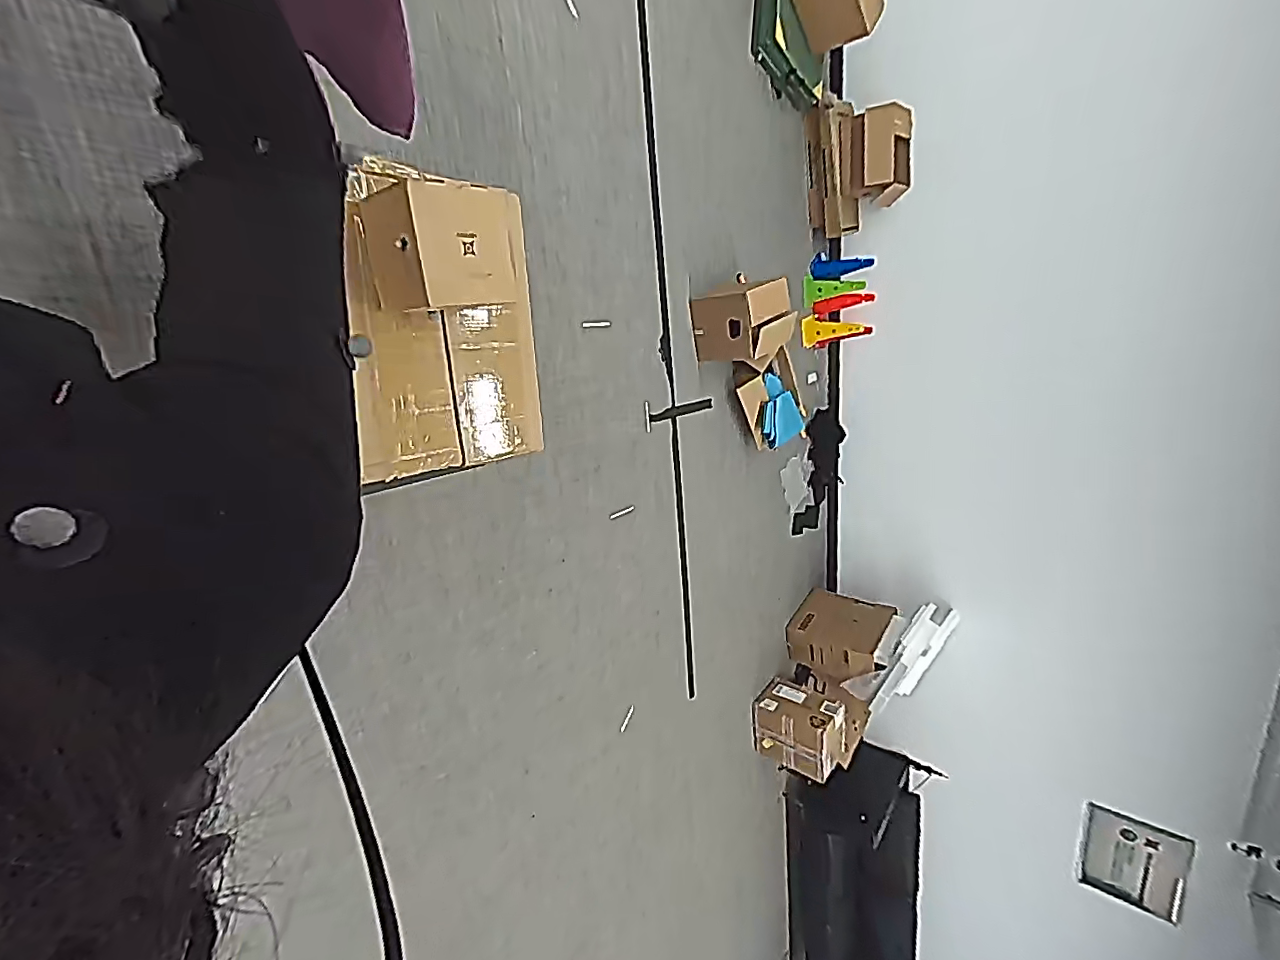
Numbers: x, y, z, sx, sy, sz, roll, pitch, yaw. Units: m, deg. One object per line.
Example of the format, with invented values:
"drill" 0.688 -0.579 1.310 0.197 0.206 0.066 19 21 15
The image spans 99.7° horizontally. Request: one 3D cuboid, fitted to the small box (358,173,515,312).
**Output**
"small box" -0.330 -0.372 0.876 0.168 0.176 0.179 -22 115 -44
